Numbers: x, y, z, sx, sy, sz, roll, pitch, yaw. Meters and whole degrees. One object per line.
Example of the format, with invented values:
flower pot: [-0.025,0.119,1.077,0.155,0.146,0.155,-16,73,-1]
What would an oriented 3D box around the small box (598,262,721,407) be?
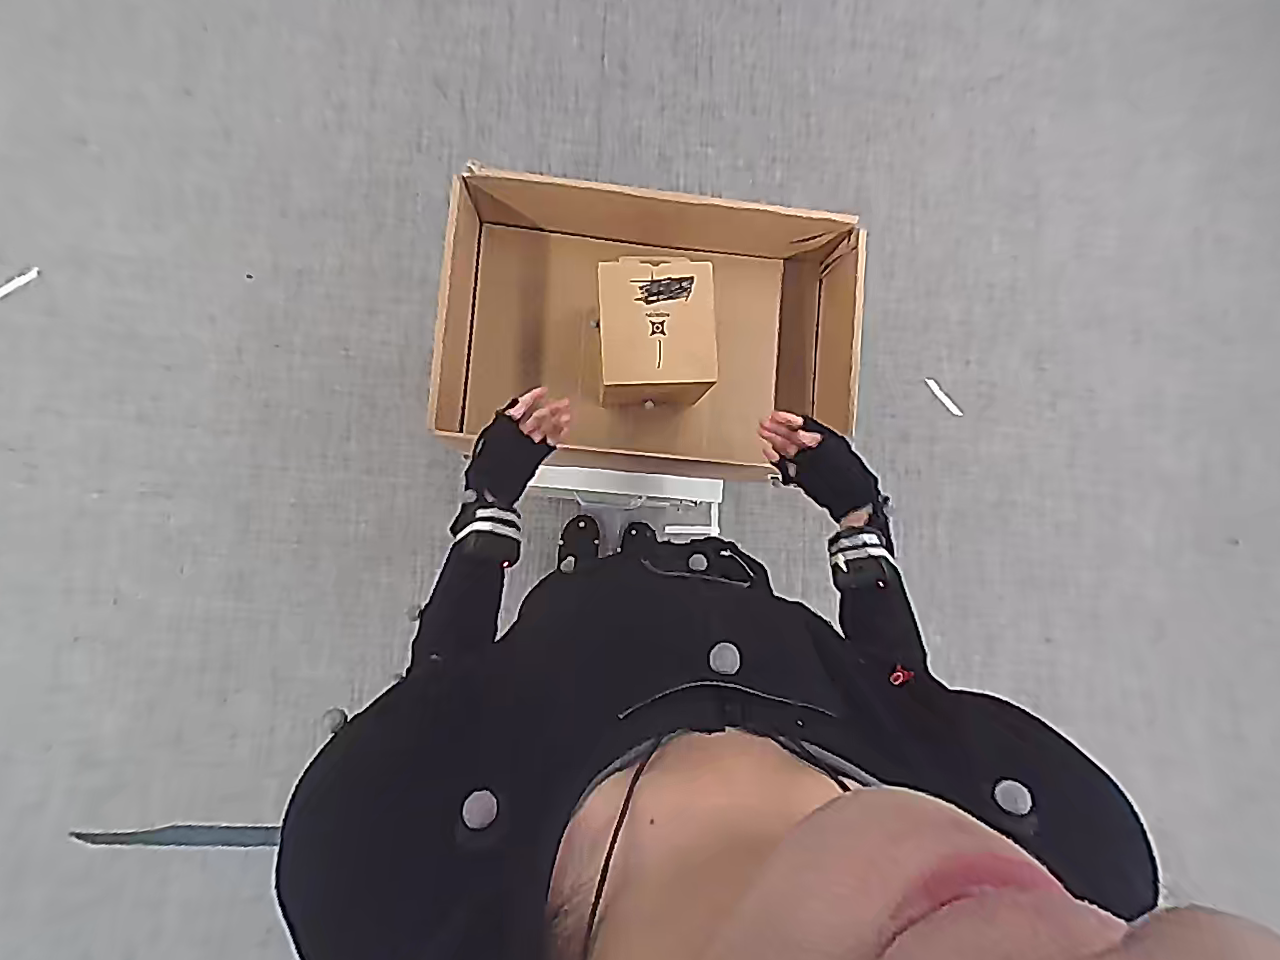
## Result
small box: [0.021,-0.216,0.835,0.168,0.176,0.179,-3,87,-5]
